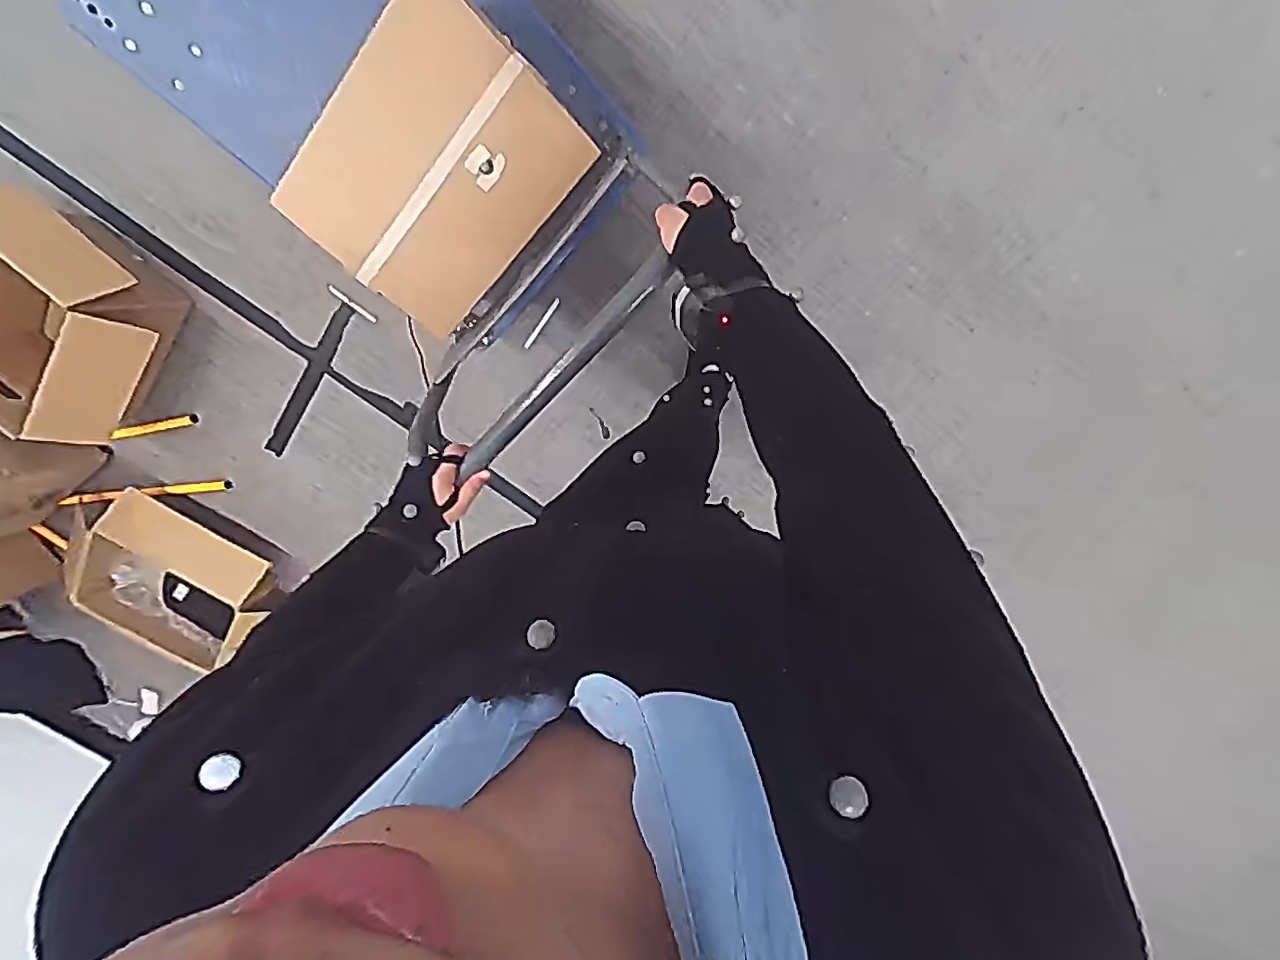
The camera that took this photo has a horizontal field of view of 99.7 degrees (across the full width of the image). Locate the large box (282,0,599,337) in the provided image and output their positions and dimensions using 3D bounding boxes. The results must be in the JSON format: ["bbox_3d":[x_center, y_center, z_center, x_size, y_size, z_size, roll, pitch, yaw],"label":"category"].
[{"bbox_3d":[-0.316,-0.534,0.946,0.320,0.320,0.408,39,110,-25],"label":"large box"}]
